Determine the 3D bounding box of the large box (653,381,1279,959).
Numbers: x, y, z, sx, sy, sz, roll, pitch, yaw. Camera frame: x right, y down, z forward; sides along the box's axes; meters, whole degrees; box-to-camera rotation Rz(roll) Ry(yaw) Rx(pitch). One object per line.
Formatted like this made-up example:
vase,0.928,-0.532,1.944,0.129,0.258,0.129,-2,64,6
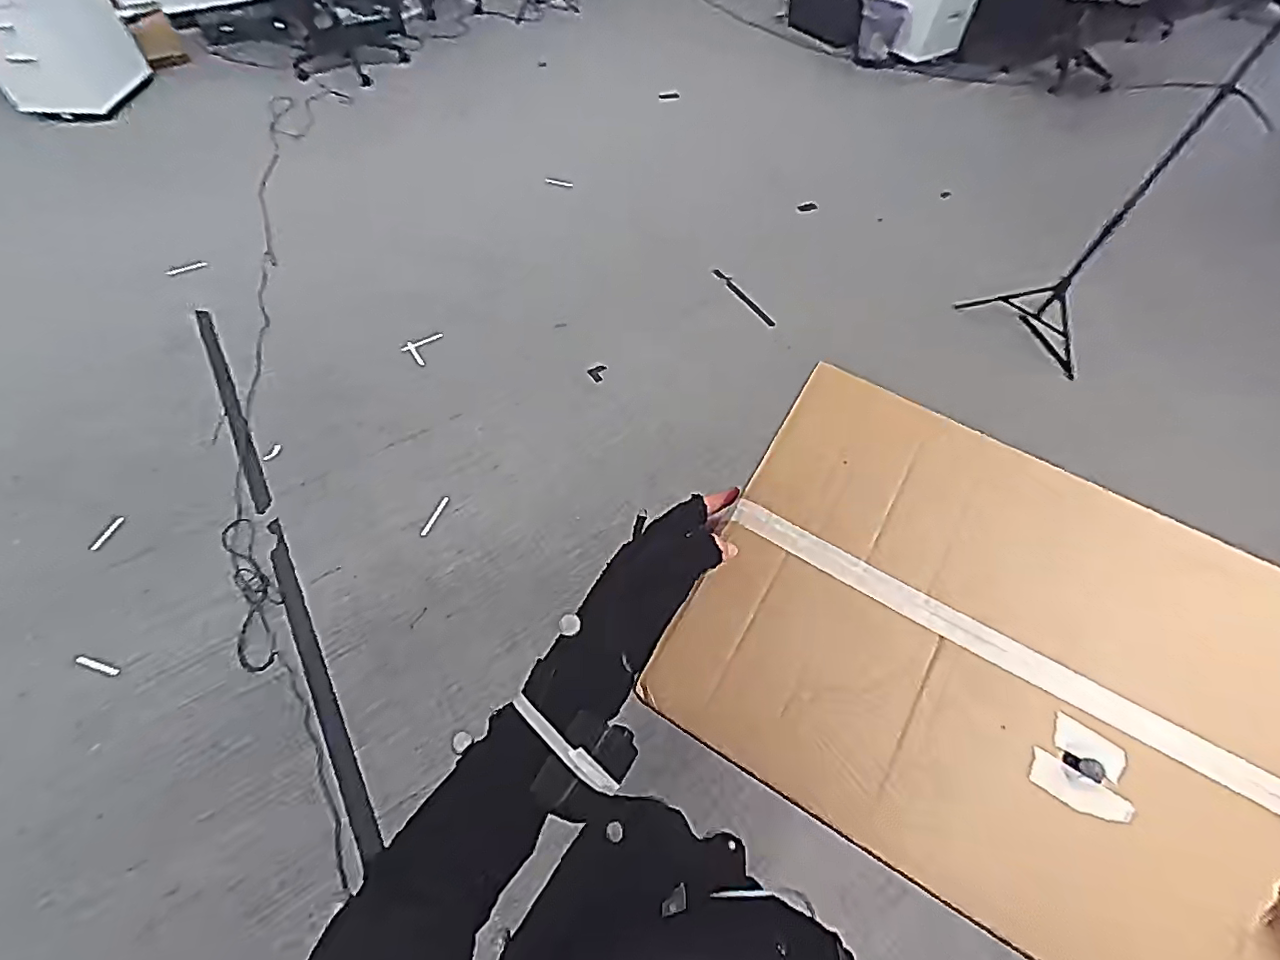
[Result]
large box,0.257,0.175,0.528,0.408,0.320,0.320,29,73,13
